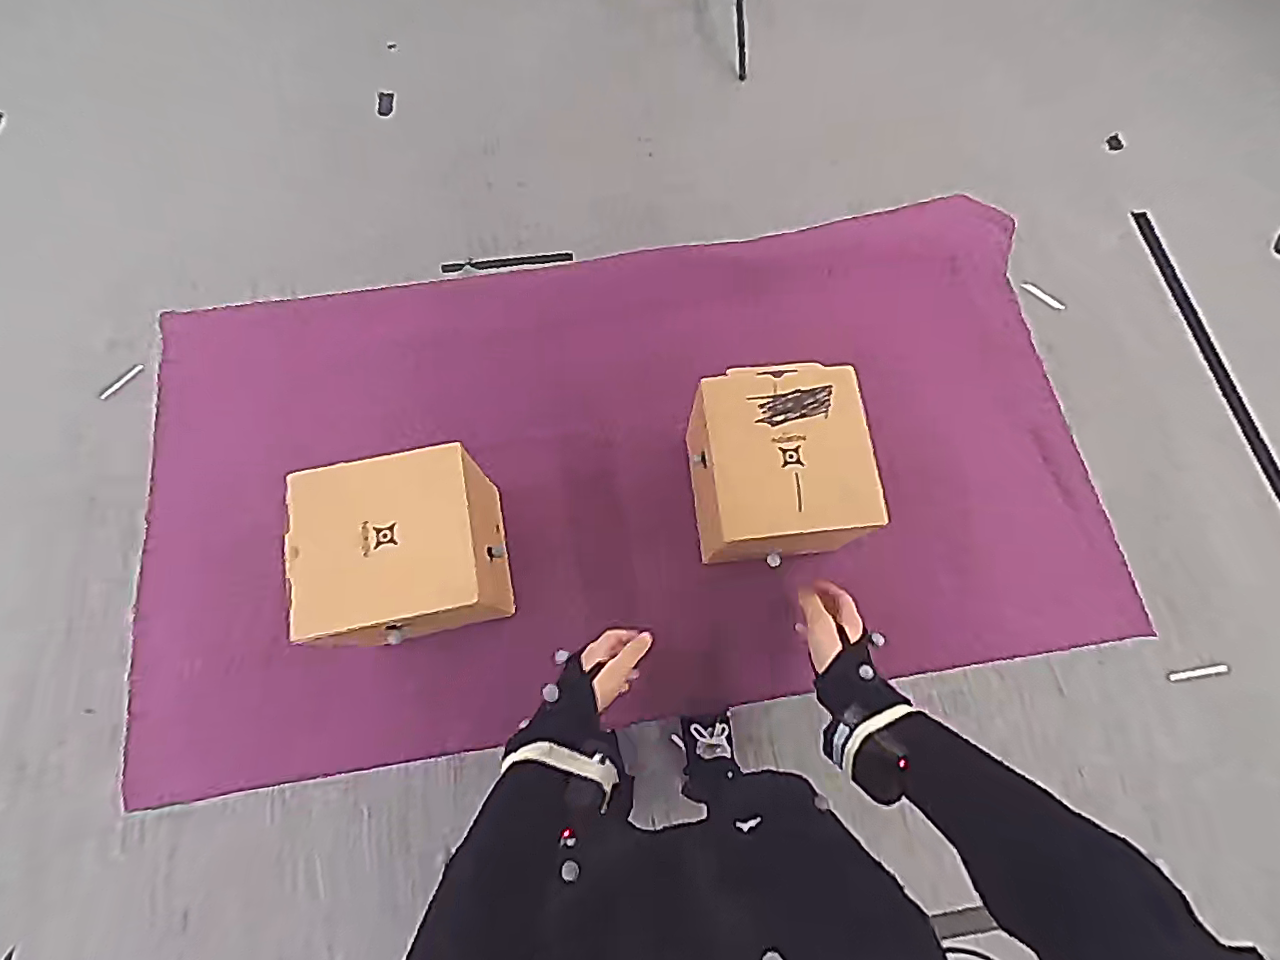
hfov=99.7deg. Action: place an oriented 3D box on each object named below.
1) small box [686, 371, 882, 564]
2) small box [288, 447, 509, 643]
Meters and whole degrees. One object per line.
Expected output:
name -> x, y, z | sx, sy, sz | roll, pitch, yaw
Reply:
small box -> 0.149, -0.006, 0.628 | 0.168, 0.176, 0.179 | -5, 74, -2
small box -> -0.251, 0.079, 0.600 | 0.179, 0.176, 0.168 | -12, 73, -4
